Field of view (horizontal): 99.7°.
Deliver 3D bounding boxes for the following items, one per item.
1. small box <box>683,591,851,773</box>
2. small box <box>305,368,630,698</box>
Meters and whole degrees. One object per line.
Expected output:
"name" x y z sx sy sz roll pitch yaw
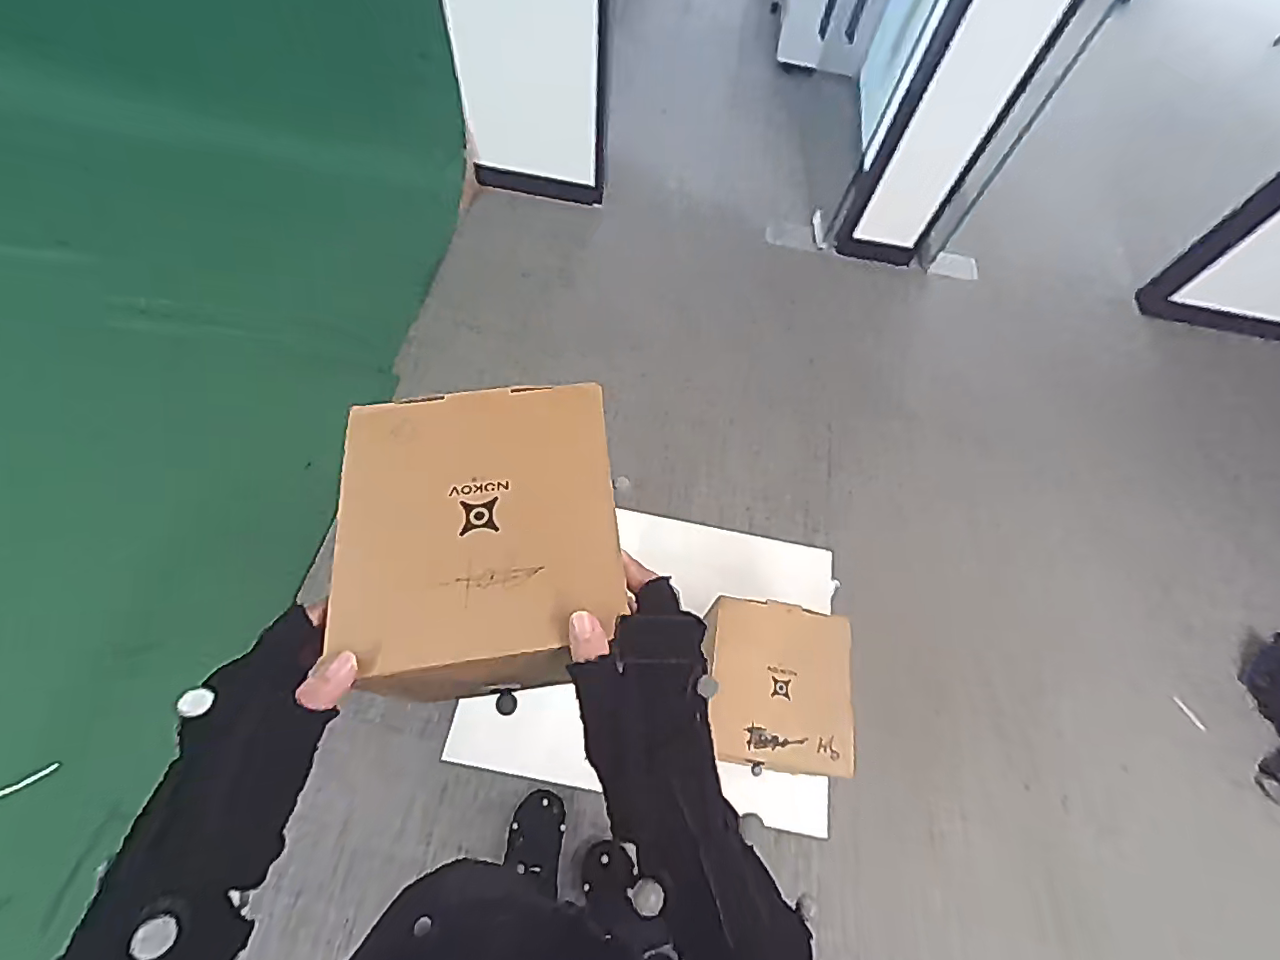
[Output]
"small box" 0.154 0.263 0.692 0.168 0.176 0.179 11 62 1
"small box" -0.101 0.046 0.383 0.168 0.176 0.179 -7 66 -5
